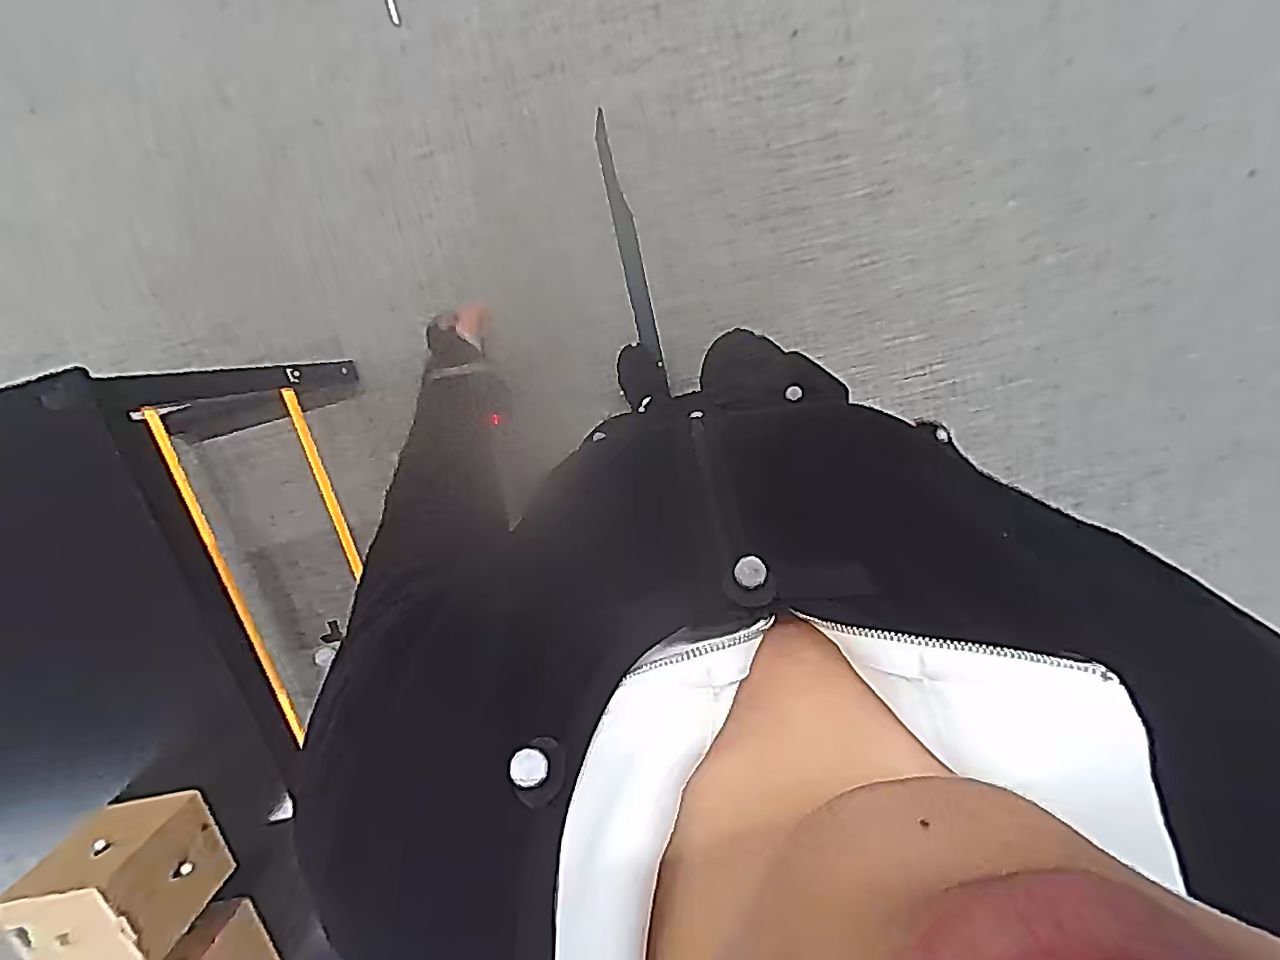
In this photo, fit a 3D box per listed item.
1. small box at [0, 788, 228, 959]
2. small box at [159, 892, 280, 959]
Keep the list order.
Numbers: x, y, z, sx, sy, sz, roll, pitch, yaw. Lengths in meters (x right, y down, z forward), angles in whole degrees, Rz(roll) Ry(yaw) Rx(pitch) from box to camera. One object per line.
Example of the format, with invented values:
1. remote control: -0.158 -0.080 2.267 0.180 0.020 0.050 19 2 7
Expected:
1. small box: -0.796 0.618 0.845 0.179 0.176 0.168 -13 104 4
2. small box: -0.747 0.839 0.898 0.168 0.176 0.179 -13 103 4
